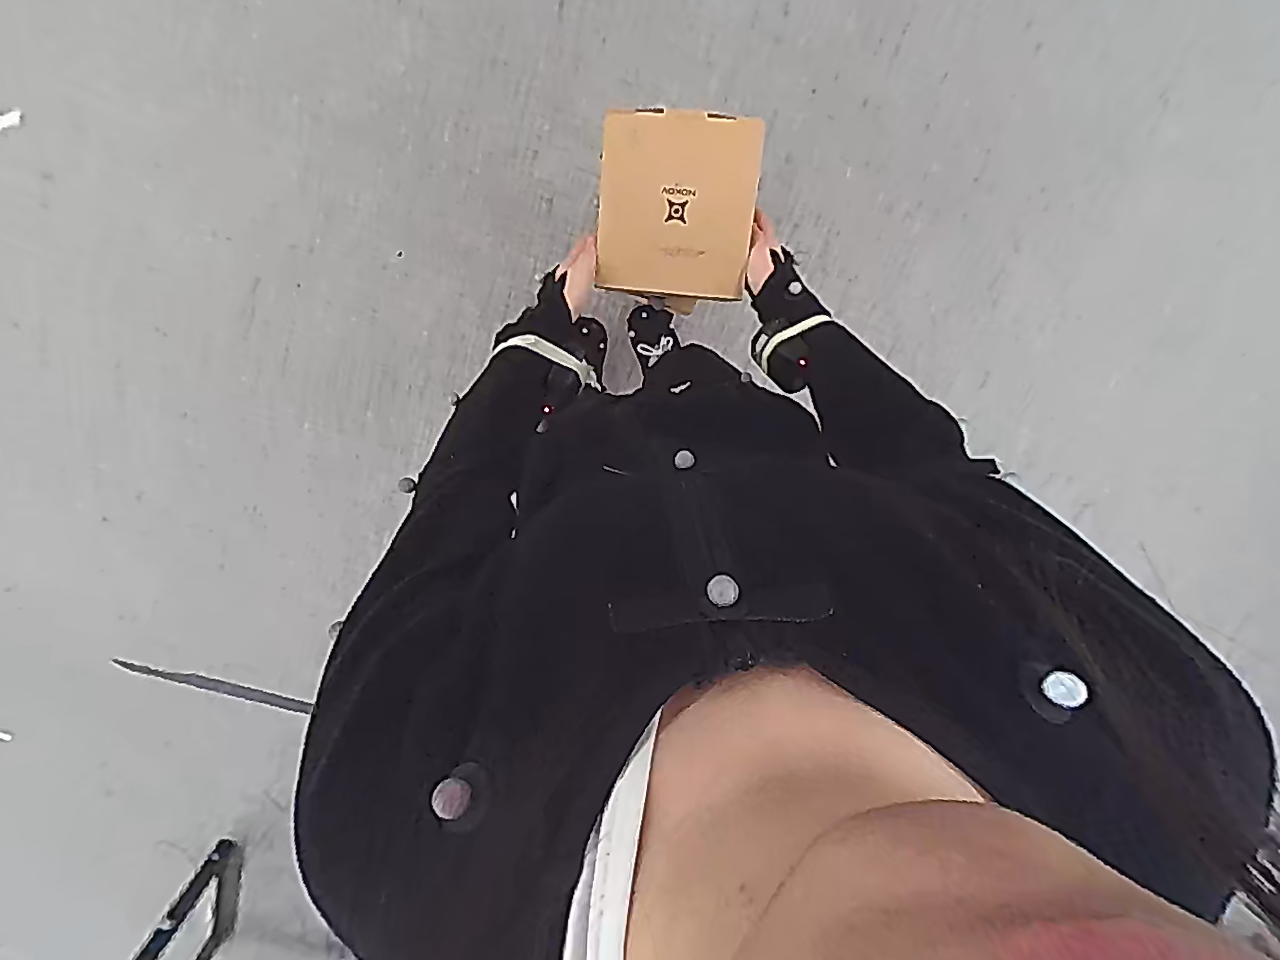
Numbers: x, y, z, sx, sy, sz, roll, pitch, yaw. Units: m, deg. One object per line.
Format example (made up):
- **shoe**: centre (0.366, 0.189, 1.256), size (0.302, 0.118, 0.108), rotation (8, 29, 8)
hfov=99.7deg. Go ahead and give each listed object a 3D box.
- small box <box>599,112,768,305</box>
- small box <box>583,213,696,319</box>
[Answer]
- **small box**: centre (0.046, -0.305, 0.642), size (0.168, 0.176, 0.179), rotation (5, 109, 3)
- **small box**: centre (0.026, -0.356, 0.808), size (0.168, 0.176, 0.179), rotation (19, 107, -7)
